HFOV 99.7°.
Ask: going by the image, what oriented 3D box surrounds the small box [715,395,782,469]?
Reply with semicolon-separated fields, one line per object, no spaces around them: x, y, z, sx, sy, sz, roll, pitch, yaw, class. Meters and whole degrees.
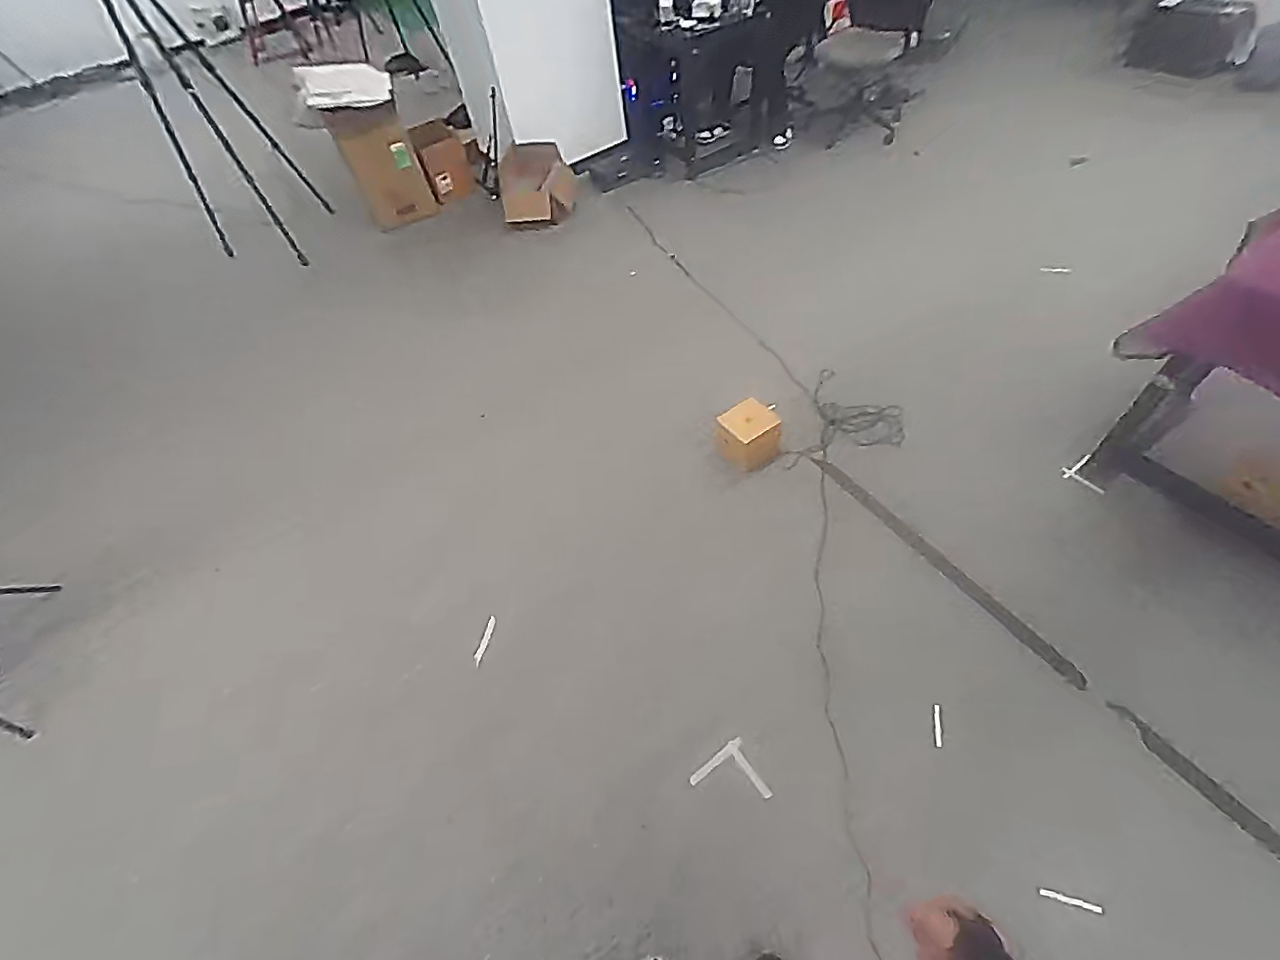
0.397;-0.173;1.979;0.179;0.176;0.168;-32;54;-15;small box
